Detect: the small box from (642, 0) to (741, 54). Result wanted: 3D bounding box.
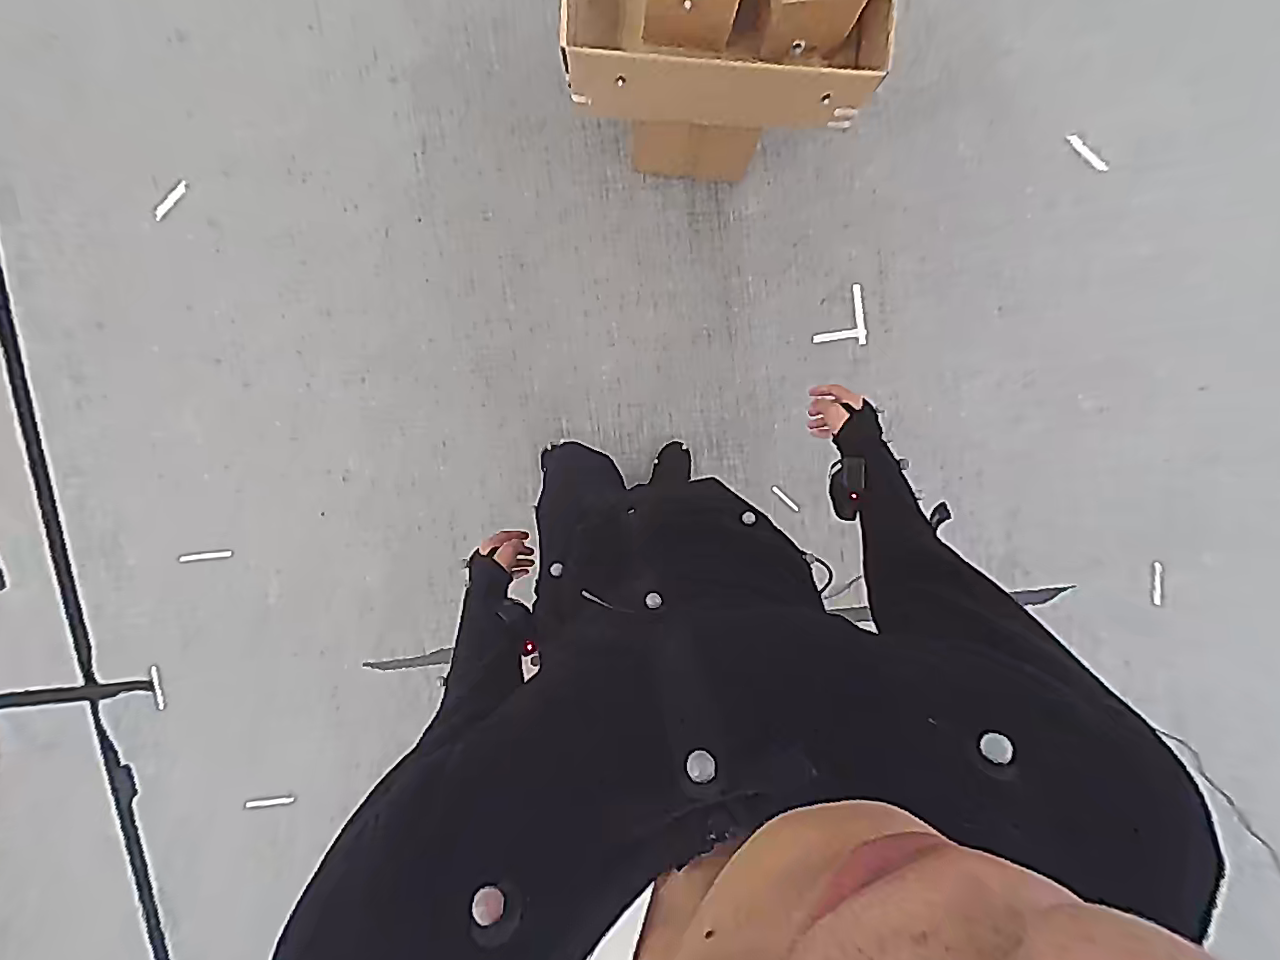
[{"bbox_3d":[0.099,-0.954,1.026,0.179,0.176,0.168,4,95,-2],"label":"small box"}]
